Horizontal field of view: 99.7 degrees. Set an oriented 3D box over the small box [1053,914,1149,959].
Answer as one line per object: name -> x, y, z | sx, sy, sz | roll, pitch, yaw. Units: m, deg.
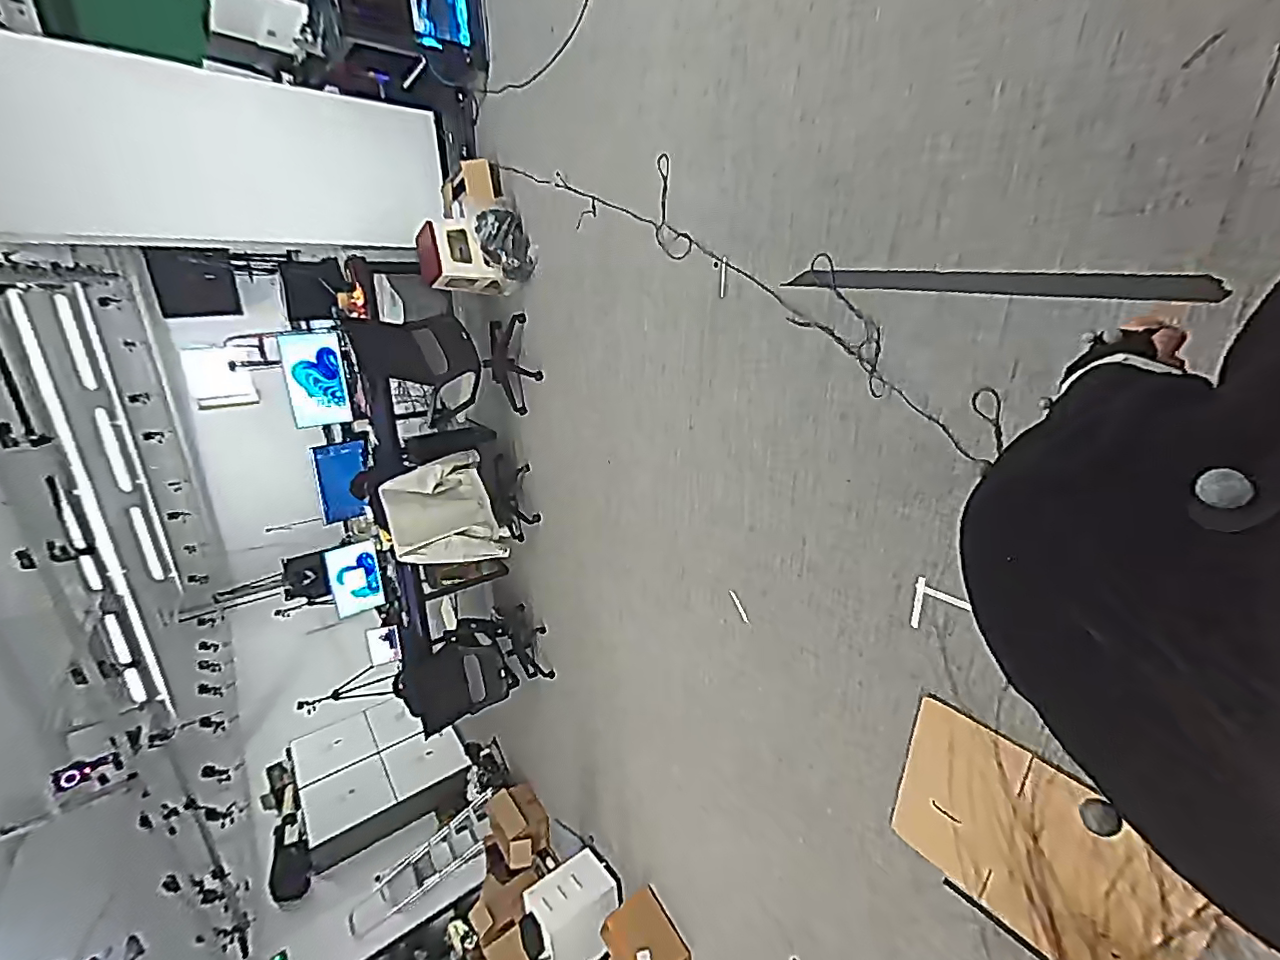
small box -> 1.163, 1.271, 1.364 | 0.168, 0.176, 0.179 | 12, 112, 51
